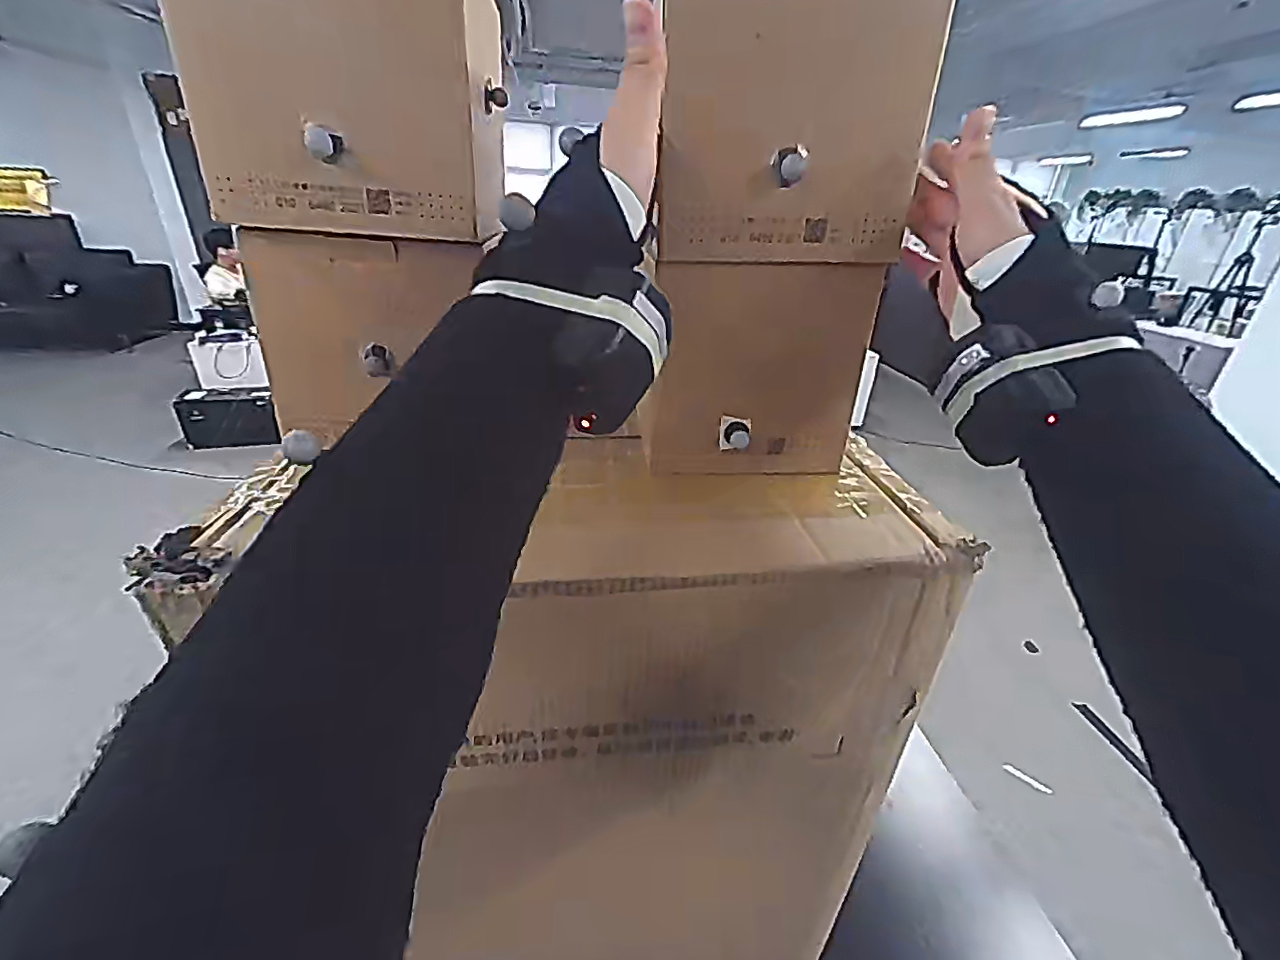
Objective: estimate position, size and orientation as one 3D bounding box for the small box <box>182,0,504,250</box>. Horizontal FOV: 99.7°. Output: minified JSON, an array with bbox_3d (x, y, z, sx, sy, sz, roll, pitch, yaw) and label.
[{"bbox_3d":[-0.194,-0.273,0.398,0.168,0.176,0.179,1,28,-7],"label":"small box"}]

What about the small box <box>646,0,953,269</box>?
[{"bbox_3d":[0.092,-0.259,0.405,0.168,0.176,0.179,0,28,-3],"label":"small box"}]

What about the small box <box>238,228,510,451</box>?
[{"bbox_3d":[-0.210,-0.134,0.488,0.168,0.176,0.179,0,28,-9],"label":"small box"}]

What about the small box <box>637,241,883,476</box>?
[{"bbox_3d":[0.084,-0.116,0.488,0.168,0.176,0.179,-1,29,-4],"label":"small box"}]
